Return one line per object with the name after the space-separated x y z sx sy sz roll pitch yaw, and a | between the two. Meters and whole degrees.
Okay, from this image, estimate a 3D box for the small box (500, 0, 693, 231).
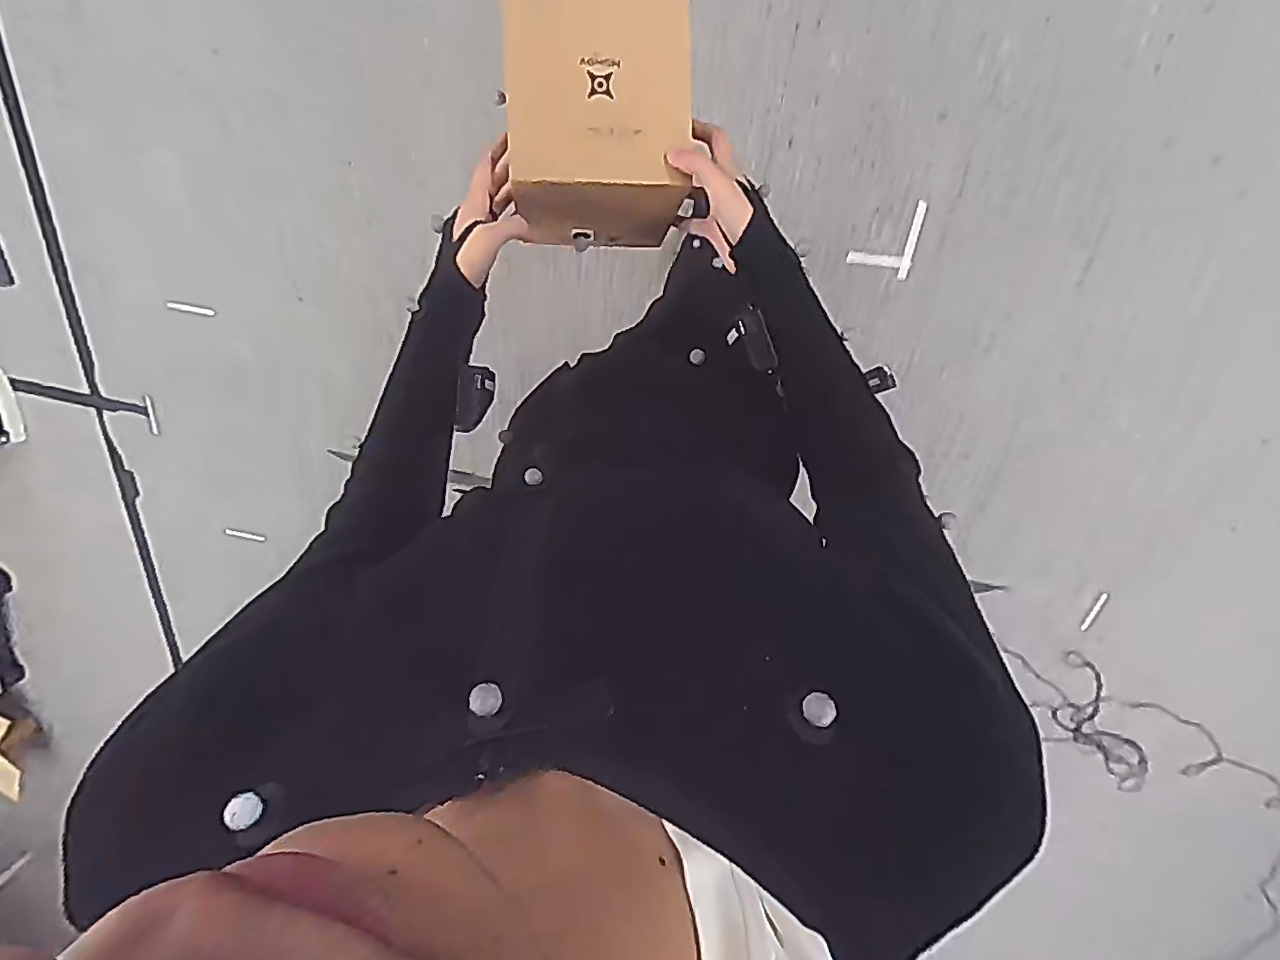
-0.048 -0.372 0.537 0.168 0.176 0.179 -2 94 -8 | small box
